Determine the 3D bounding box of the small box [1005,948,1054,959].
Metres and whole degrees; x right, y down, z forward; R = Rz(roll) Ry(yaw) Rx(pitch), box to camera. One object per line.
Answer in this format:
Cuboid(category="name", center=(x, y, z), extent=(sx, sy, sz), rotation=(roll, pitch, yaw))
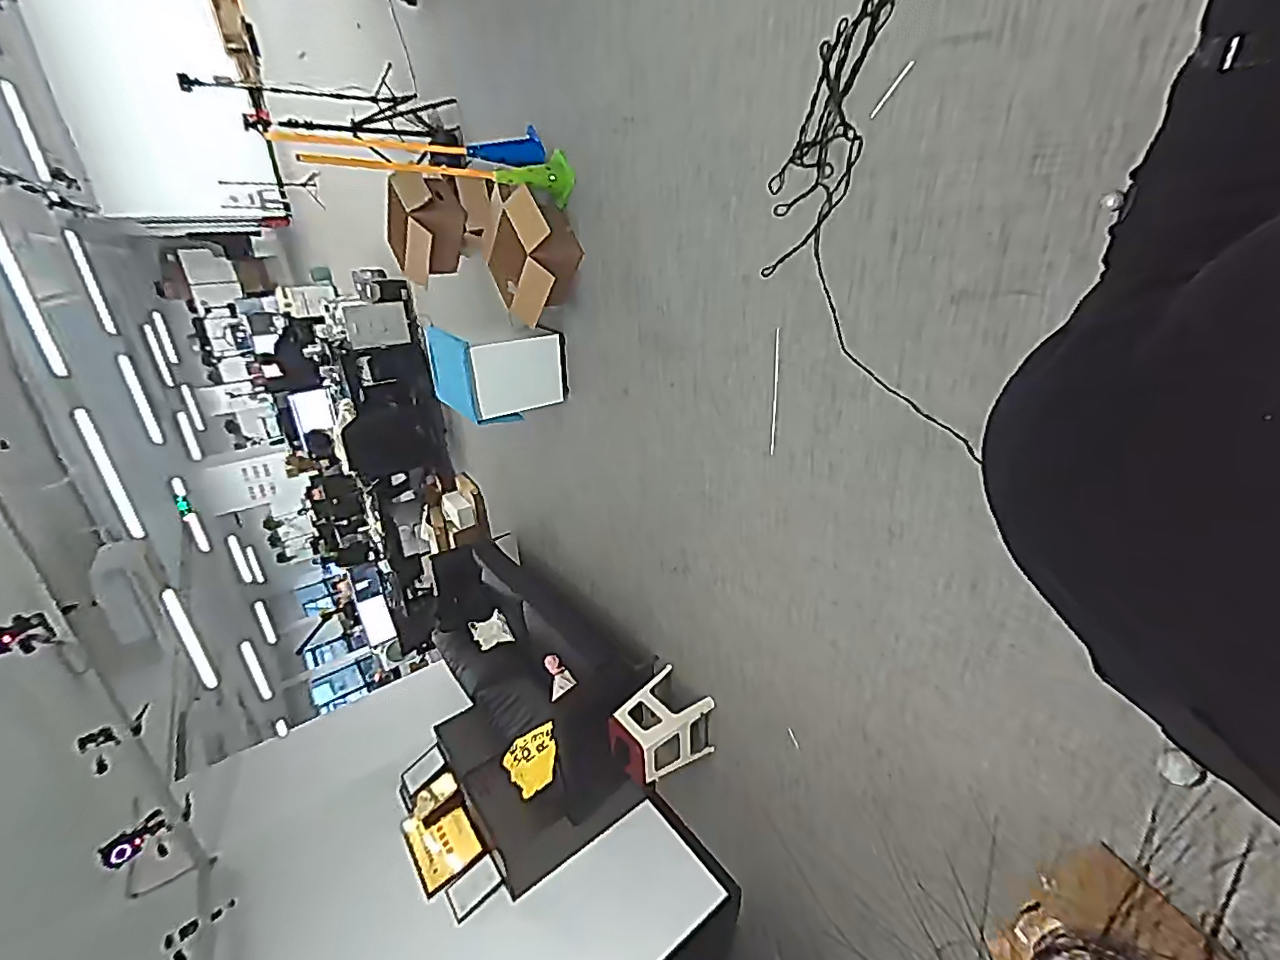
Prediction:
Cuboid(category="small box", center=(0.984, 1.315, 1.335), extent=(0.168, 0.176, 0.179), rotation=(45, 140, 34))
